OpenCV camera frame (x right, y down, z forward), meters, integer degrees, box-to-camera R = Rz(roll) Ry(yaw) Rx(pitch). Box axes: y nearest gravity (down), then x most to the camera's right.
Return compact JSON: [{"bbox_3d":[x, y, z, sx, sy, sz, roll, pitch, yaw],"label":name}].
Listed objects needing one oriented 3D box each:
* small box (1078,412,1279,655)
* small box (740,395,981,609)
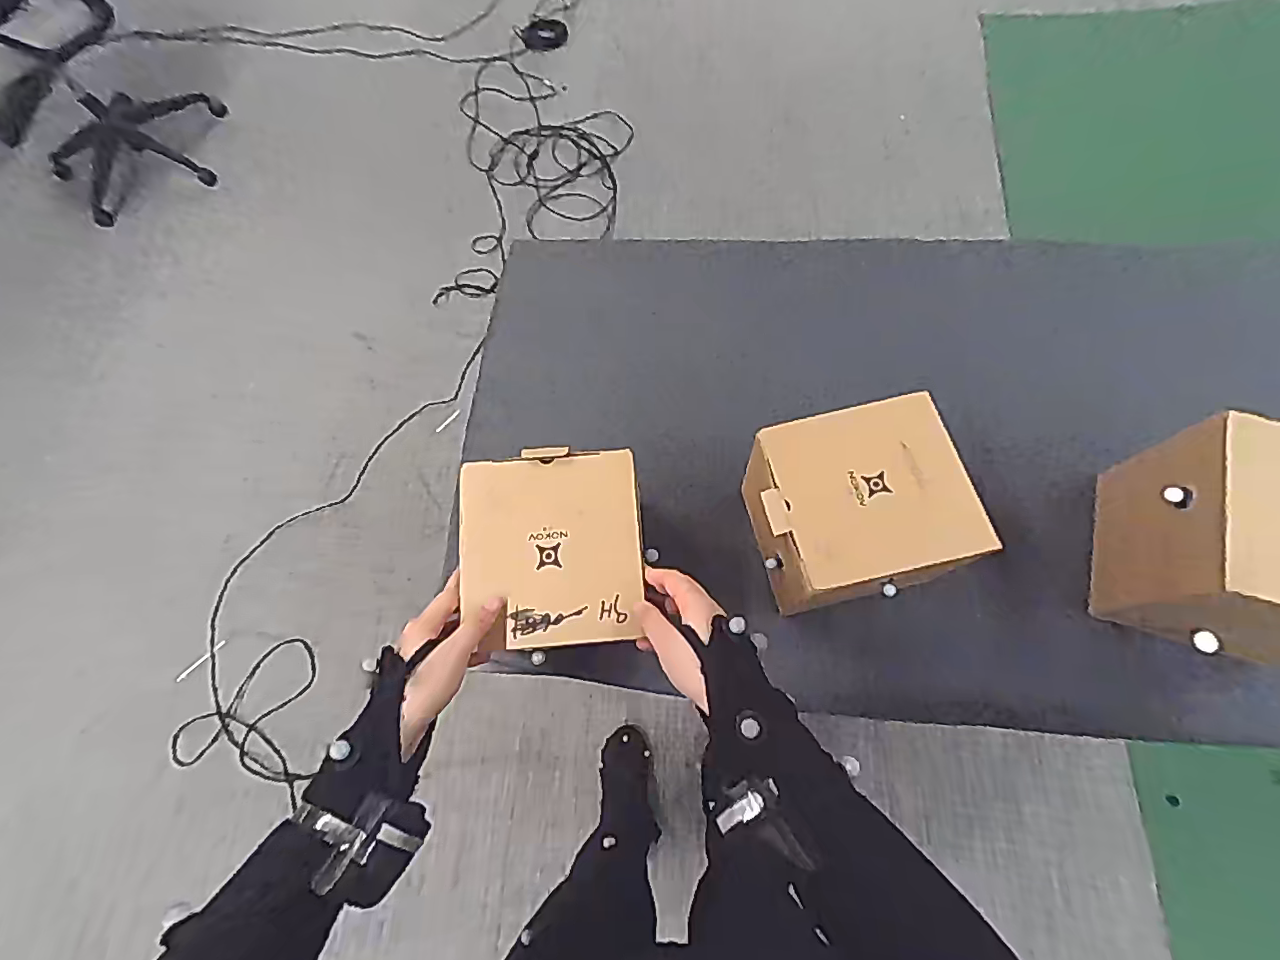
[{"bbox_3d":[0.582,0.062,0.540,0.168,0.176,0.179,16,72,12],"label":"small box"},{"bbox_3d":[0.214,0.035,0.589,0.179,0.176,0.168,-14,70,-1],"label":"small box"}]
